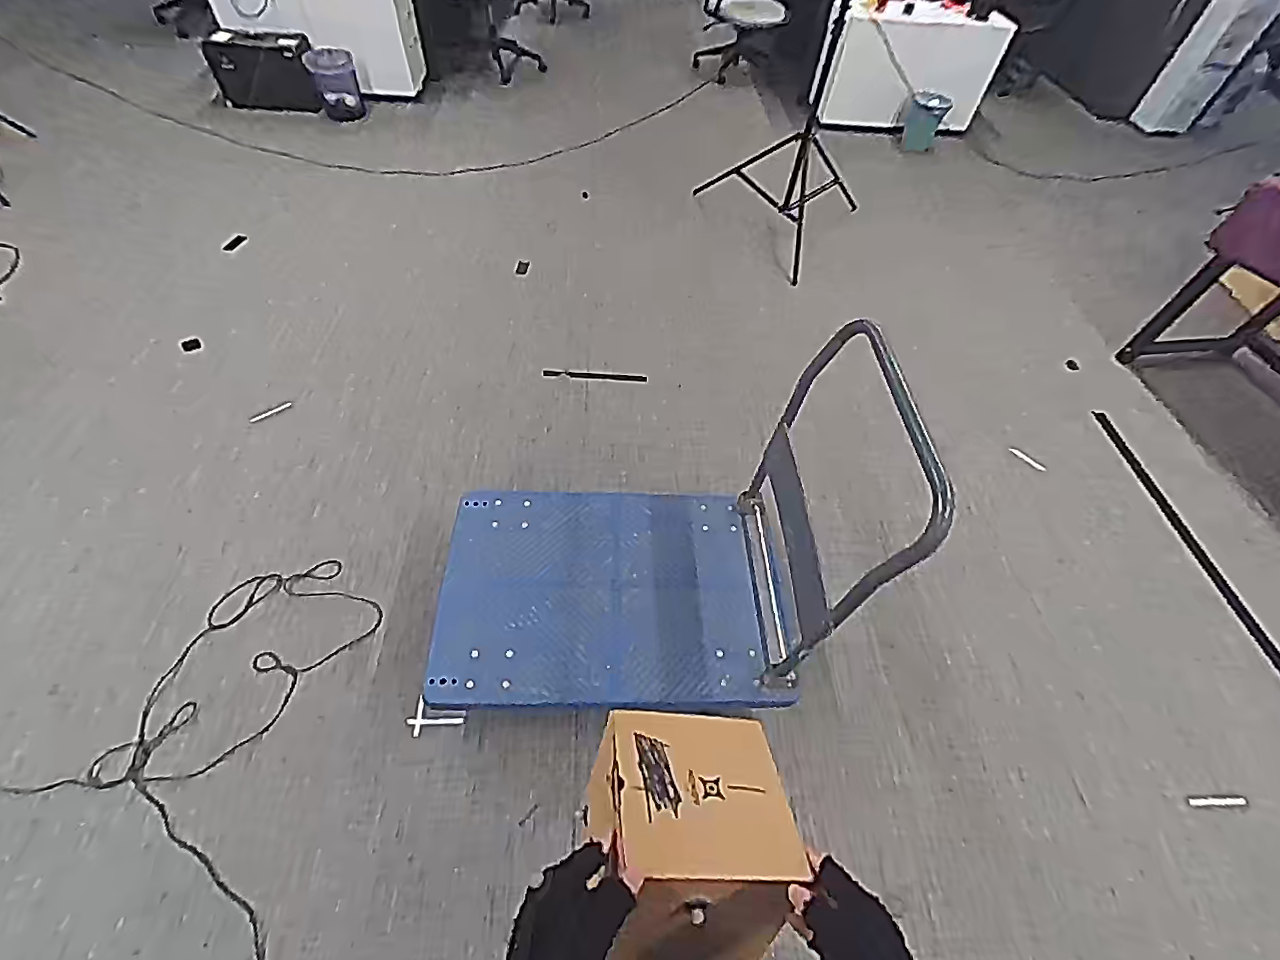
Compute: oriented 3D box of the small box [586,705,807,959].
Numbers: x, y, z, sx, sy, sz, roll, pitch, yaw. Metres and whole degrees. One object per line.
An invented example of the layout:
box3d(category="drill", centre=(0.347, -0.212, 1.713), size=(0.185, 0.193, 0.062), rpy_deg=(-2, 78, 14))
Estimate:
box3d(category="small box", centre=(0.041, 0.366, 0.567), size=(0.179, 0.176, 0.168), rpy_deg=(10, 26, -11))
